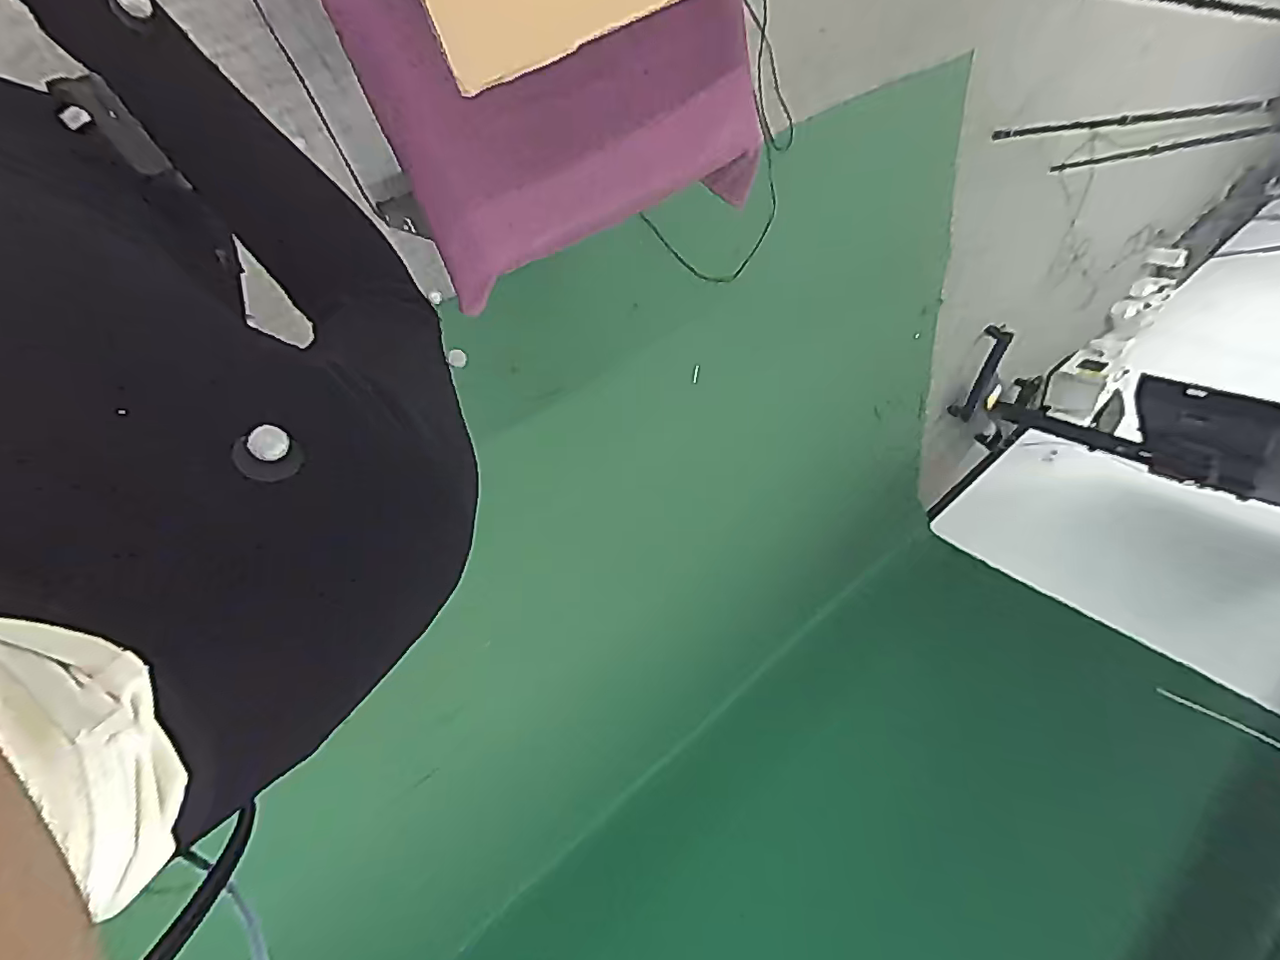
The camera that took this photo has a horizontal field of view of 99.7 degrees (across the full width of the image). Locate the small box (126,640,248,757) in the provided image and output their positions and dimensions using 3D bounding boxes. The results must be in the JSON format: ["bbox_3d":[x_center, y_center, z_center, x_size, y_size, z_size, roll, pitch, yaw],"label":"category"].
[{"bbox_3d":[-1.116,0.536,1.346,0.168,0.176,0.179,-31,130,-22],"label":"small box"}]
